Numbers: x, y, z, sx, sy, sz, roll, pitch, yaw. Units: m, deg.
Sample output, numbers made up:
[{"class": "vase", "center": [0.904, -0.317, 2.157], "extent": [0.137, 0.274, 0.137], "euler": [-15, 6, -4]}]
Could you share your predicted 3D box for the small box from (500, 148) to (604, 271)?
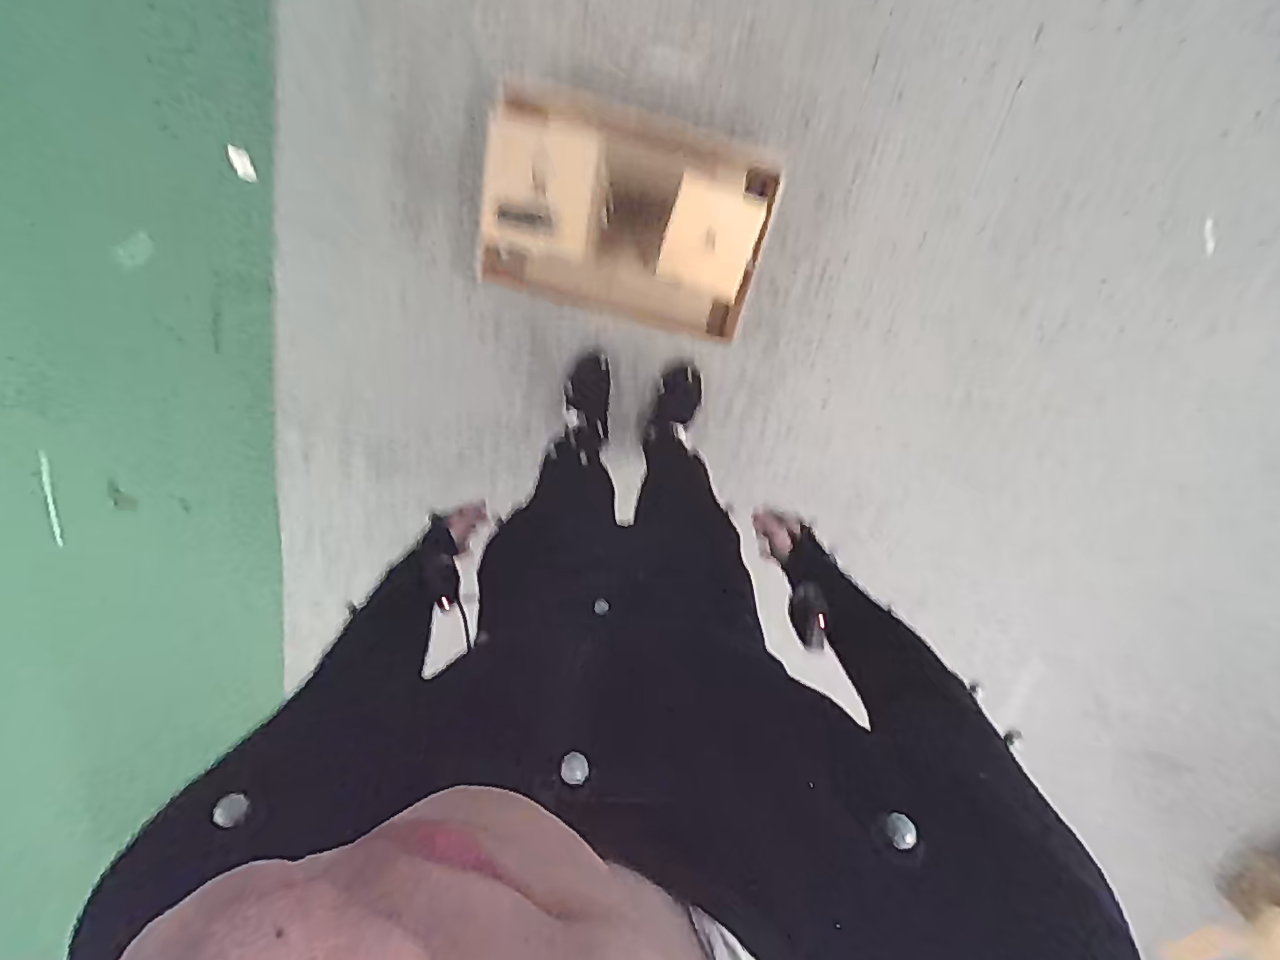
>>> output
[{"class": "small box", "center": [-0.167, -0.524, 1.071], "extent": [0.168, 0.176, 0.179], "euler": [11, 110, -4]}]

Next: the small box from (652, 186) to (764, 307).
[{"class": "small box", "center": [0.126, -0.469, 1.100], "extent": [0.168, 0.176, 0.179], "euler": [16, 111, -8]}]
